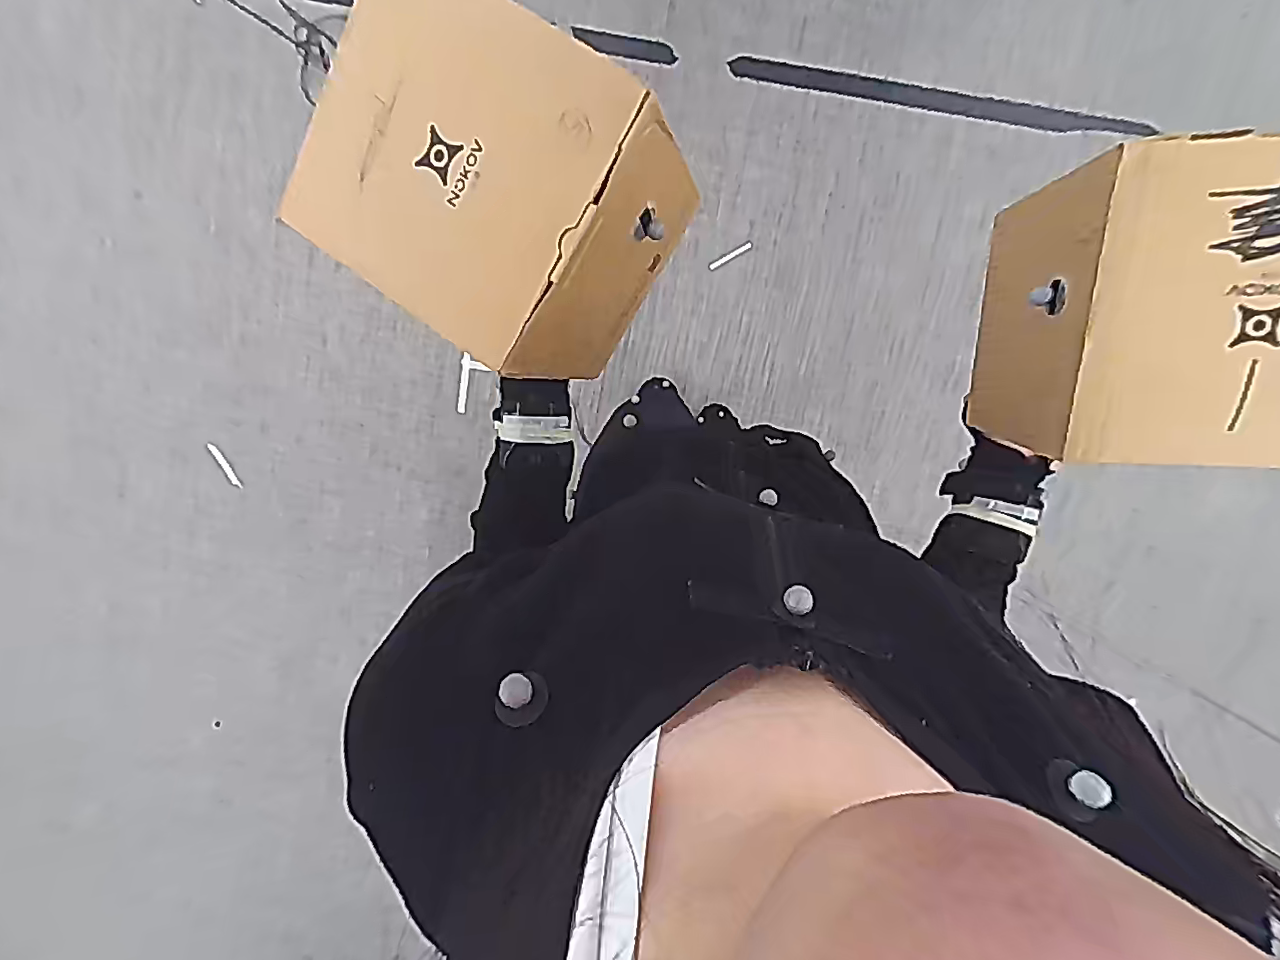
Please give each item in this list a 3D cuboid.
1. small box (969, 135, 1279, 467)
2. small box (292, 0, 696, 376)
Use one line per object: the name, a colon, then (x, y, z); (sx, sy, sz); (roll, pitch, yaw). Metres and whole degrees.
small box: (0.353, -0.112, 0.372); (0.168, 0.176, 0.179); (3, 105, 12)
small box: (-0.080, -0.188, 0.373); (0.179, 0.176, 0.168); (35, 106, 7)
